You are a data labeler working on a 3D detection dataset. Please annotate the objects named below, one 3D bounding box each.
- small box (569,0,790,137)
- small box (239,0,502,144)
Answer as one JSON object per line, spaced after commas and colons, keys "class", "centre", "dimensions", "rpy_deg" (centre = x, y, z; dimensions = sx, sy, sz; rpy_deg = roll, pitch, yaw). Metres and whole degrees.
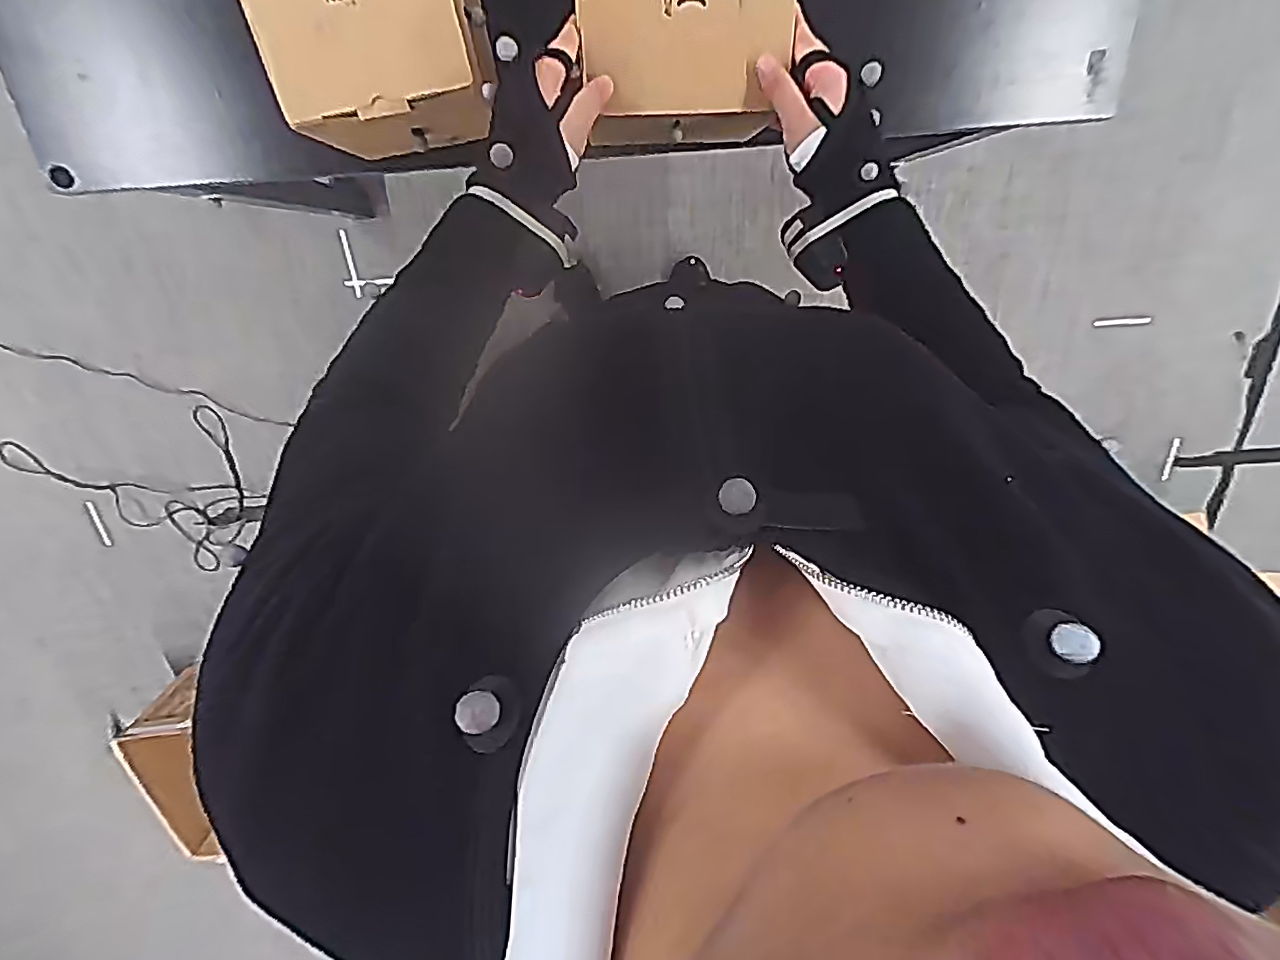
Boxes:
{"class": "small box", "centre": [0.028, -0.420, 0.489], "dimensions": [0.179, 0.176, 0.168], "rpy_deg": [-3, 115, -2]}
{"class": "small box", "centre": [-0.239, -0.427, 0.496], "dimensions": [0.168, 0.176, 0.179], "rpy_deg": [-10, 113, 2]}
